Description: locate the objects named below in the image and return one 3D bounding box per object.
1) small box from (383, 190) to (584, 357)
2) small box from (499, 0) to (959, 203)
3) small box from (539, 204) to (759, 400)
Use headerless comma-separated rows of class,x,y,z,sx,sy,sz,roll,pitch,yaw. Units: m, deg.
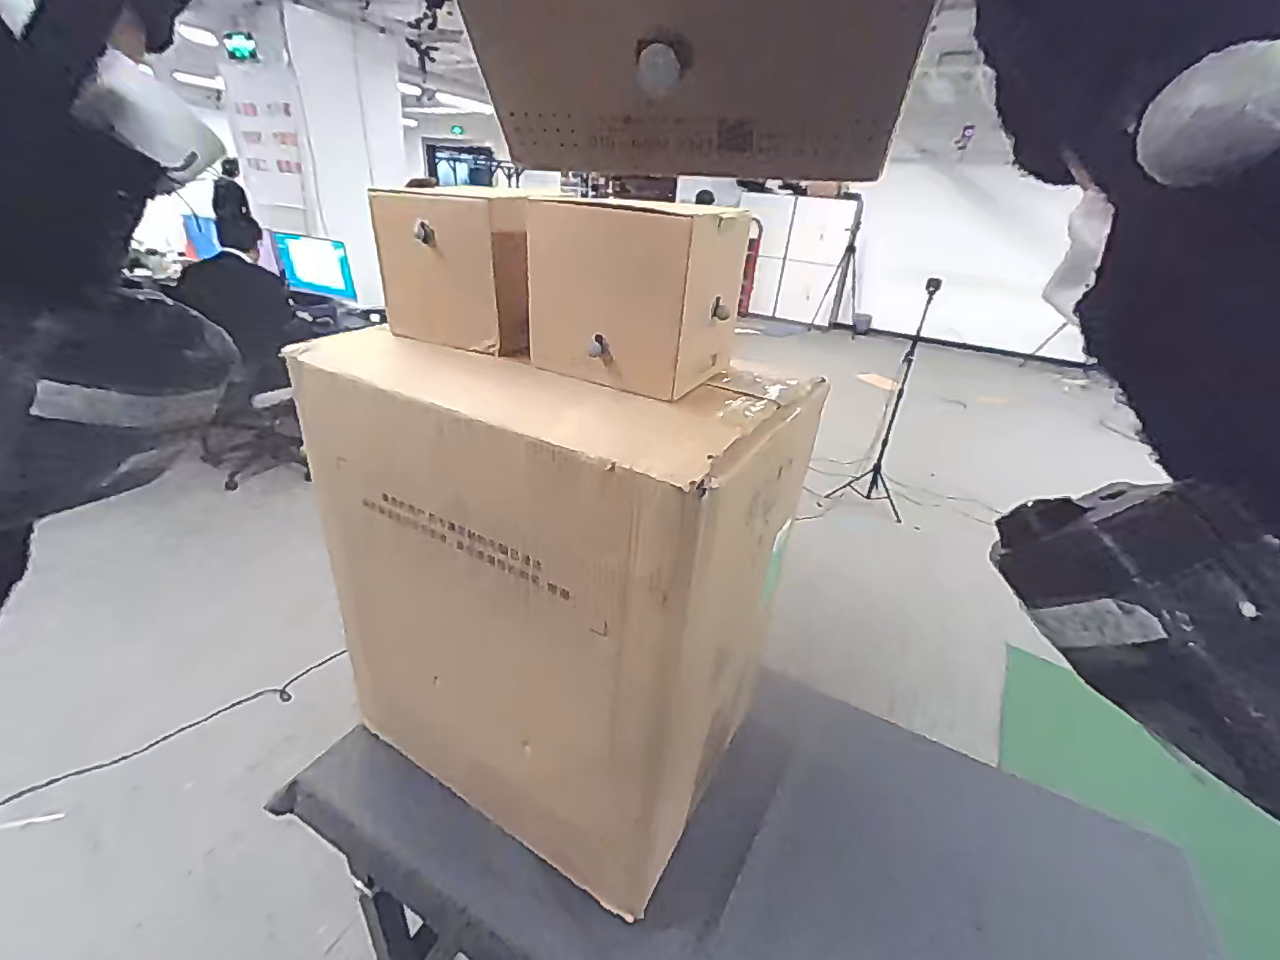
small box,-0.185,-0.262,0.679,0.179,0.176,0.168,17,32,21
small box,0.037,-0.241,0.203,0.168,0.176,0.179,9,69,11
small box,0.009,-0.198,0.590,0.179,0.176,0.168,19,31,22
